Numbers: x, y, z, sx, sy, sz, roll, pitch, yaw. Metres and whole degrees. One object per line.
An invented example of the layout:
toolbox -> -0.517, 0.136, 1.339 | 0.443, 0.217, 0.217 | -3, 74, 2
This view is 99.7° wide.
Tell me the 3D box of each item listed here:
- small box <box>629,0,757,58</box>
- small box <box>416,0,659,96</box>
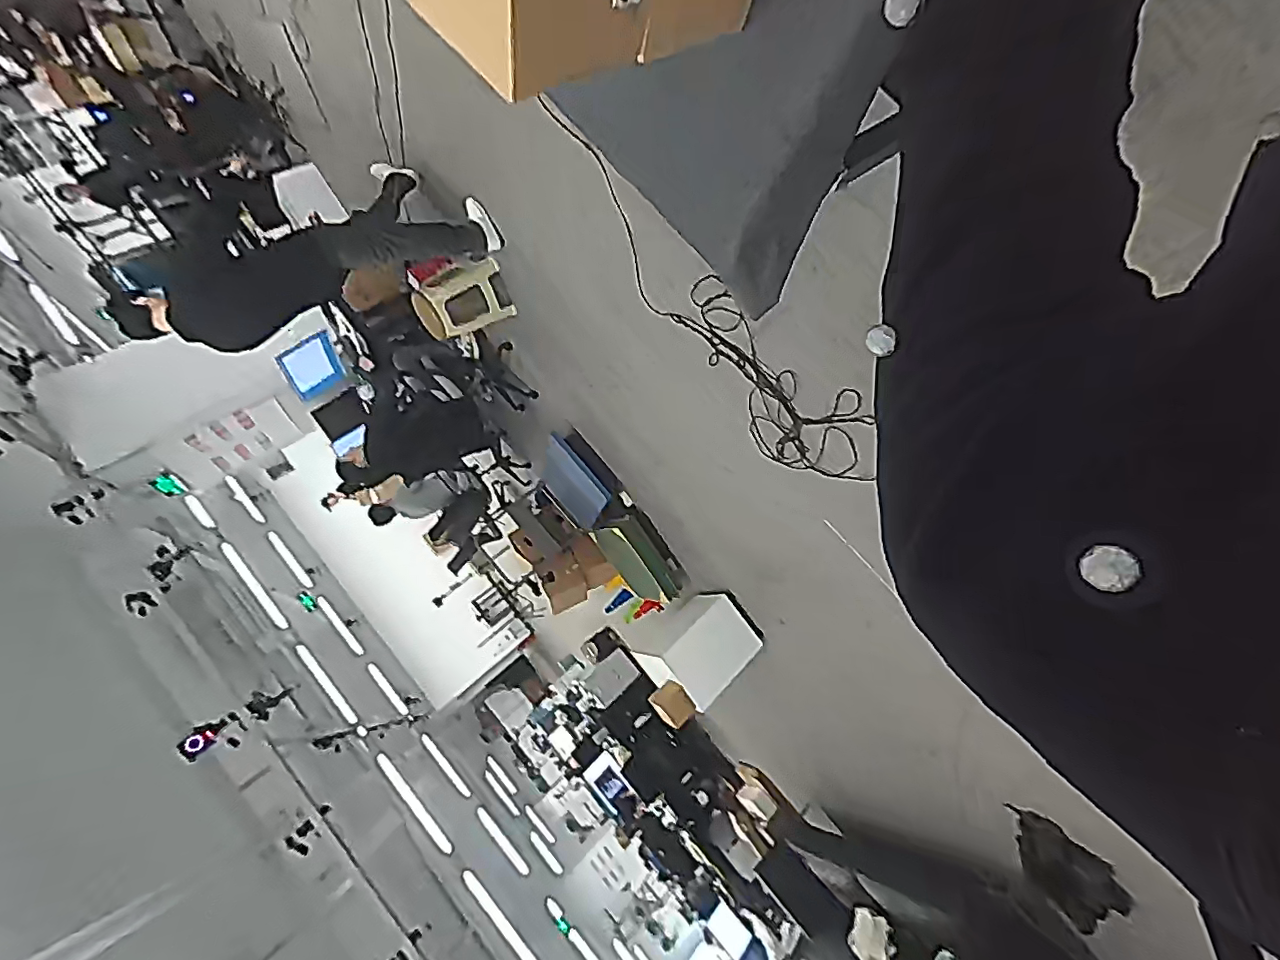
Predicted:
small box -> 0.026, -0.571, 0.536 | 0.179, 0.176, 0.168 | 47, 155, 10
small box -> -0.091, -0.483, 0.464 | 0.179, 0.176, 0.168 | 47, 156, 10
